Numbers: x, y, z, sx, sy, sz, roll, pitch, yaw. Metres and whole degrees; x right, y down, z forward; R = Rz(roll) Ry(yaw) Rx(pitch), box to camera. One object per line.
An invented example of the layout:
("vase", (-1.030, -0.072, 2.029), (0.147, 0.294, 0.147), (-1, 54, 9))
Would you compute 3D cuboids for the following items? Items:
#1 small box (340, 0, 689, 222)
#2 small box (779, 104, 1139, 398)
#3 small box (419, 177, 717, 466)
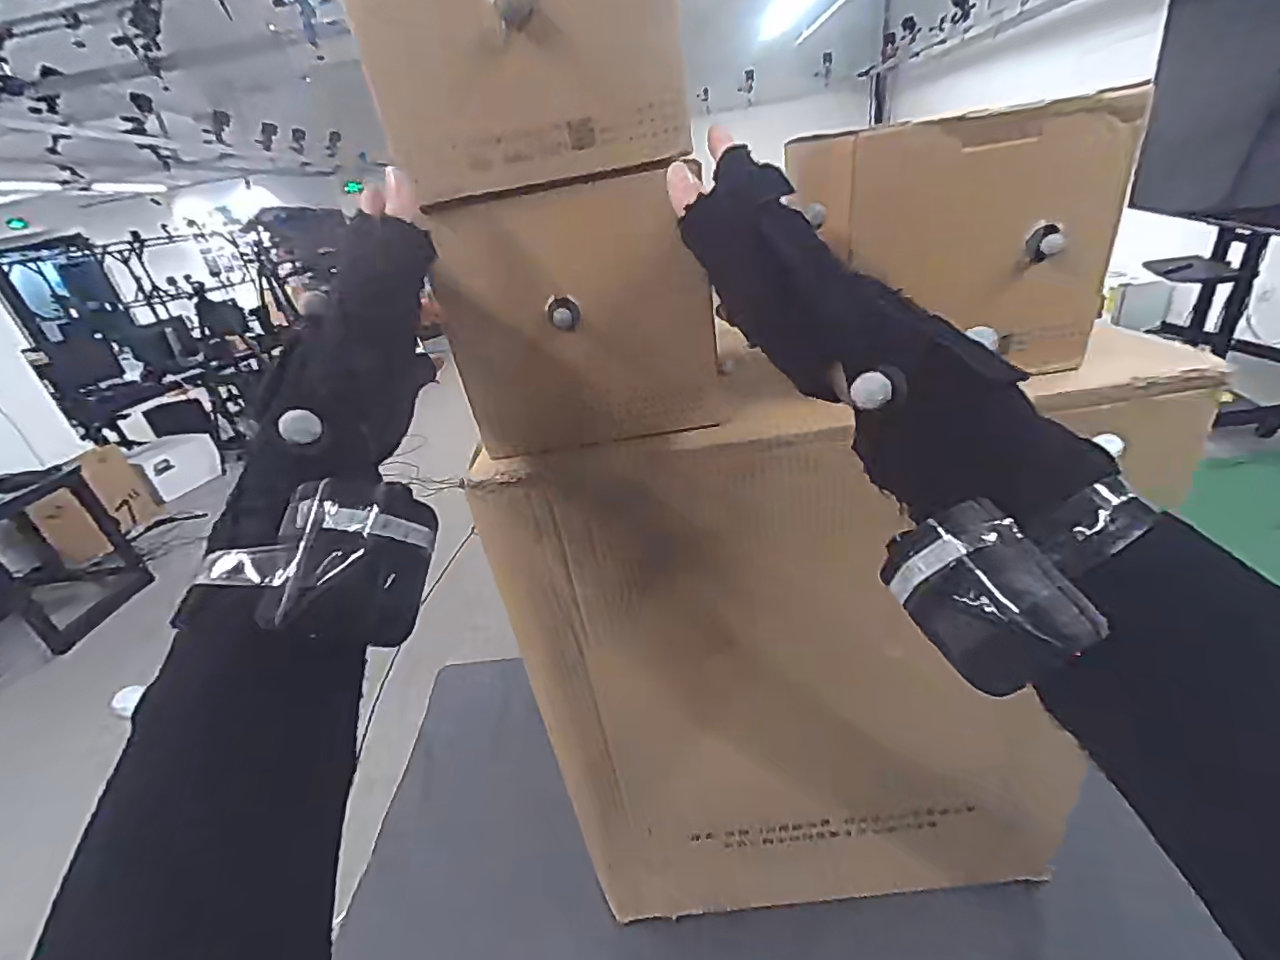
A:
("small box", (-0.068, -0.268, 0.342), (0.168, 0.176, 0.179), (-10, 30, 1))
("small box", (0.210, -0.167, 0.417), (0.168, 0.176, 0.179), (-6, 28, 2))
("small box", (-0.038, -0.128, 0.421), (0.179, 0.176, 0.168), (-9, 30, 0))
